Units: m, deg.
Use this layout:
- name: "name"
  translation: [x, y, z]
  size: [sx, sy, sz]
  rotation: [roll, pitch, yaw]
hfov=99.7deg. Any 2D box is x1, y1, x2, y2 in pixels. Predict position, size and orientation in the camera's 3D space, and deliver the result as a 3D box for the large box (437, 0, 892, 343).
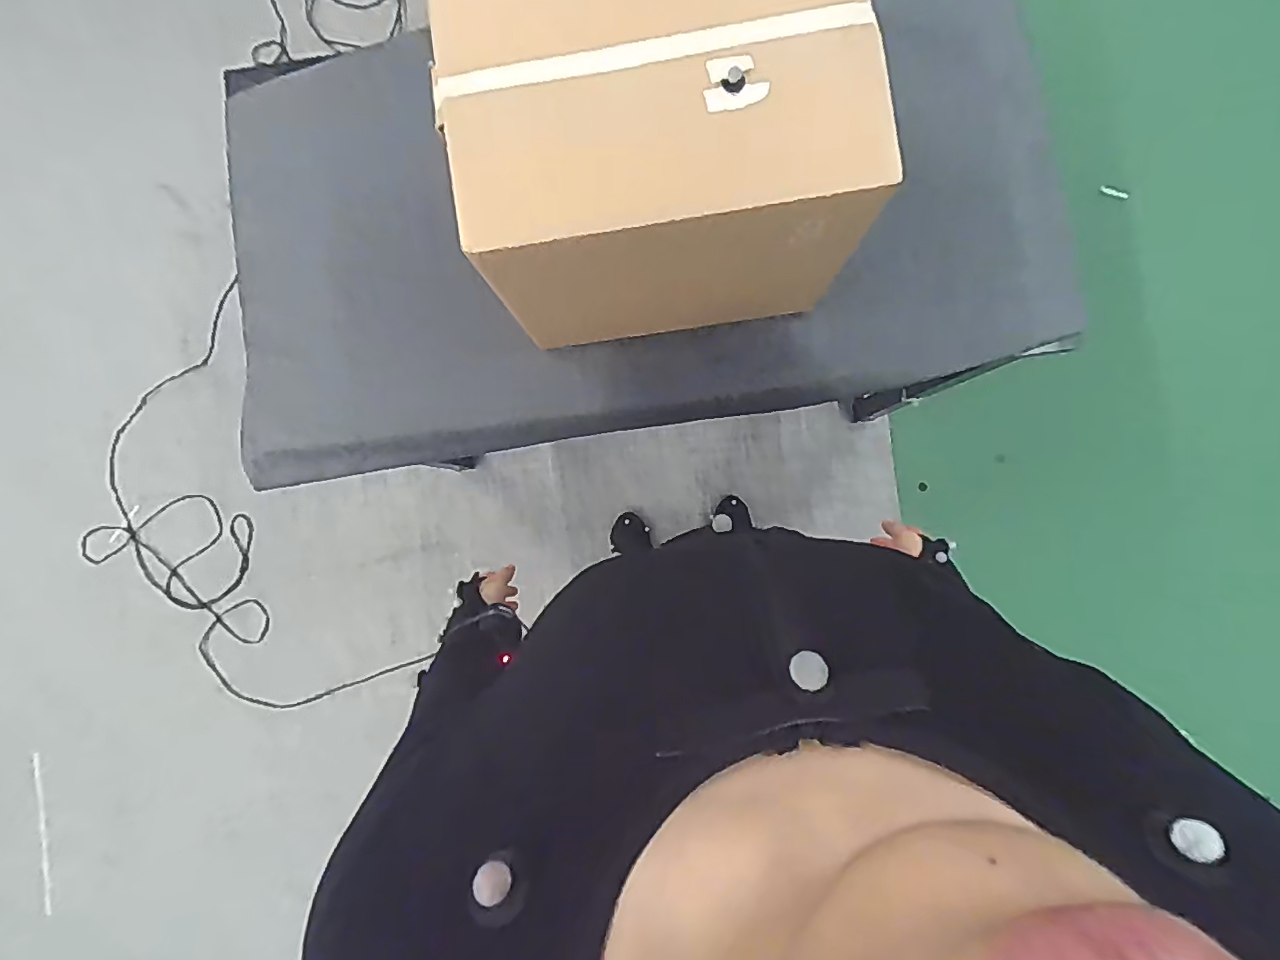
- name: "large box"
  translation: [0.019, -0.389, 0.659]
  size: [0.408, 0.320, 0.320]
  rotation: [-8, 87, 2]
